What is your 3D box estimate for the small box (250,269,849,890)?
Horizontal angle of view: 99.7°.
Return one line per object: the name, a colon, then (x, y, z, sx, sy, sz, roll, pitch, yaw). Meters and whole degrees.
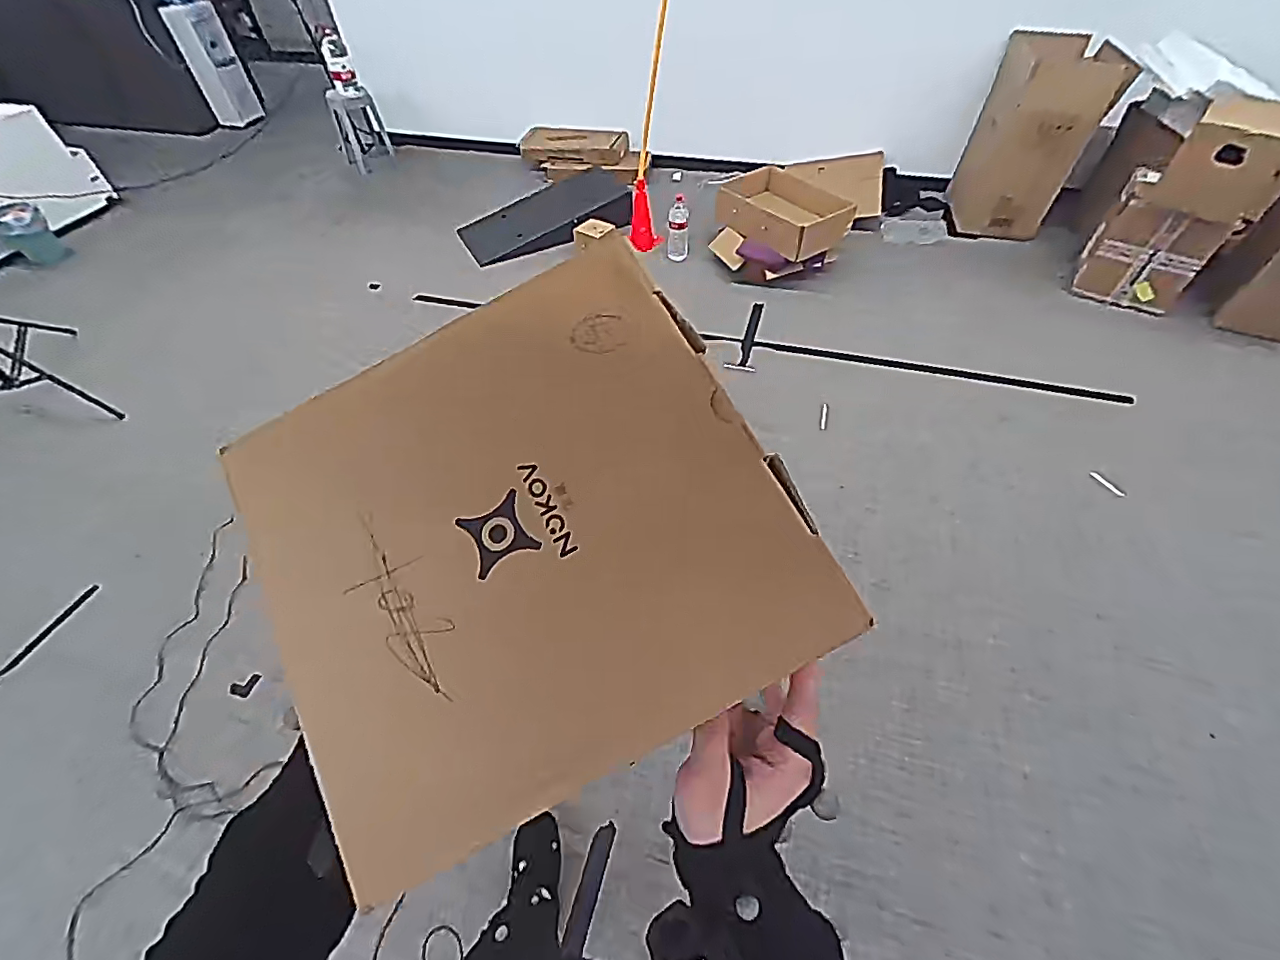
small box: (-0.033, 0.042, 0.272, 0.179, 0.176, 0.168, -30, 73, 0)
